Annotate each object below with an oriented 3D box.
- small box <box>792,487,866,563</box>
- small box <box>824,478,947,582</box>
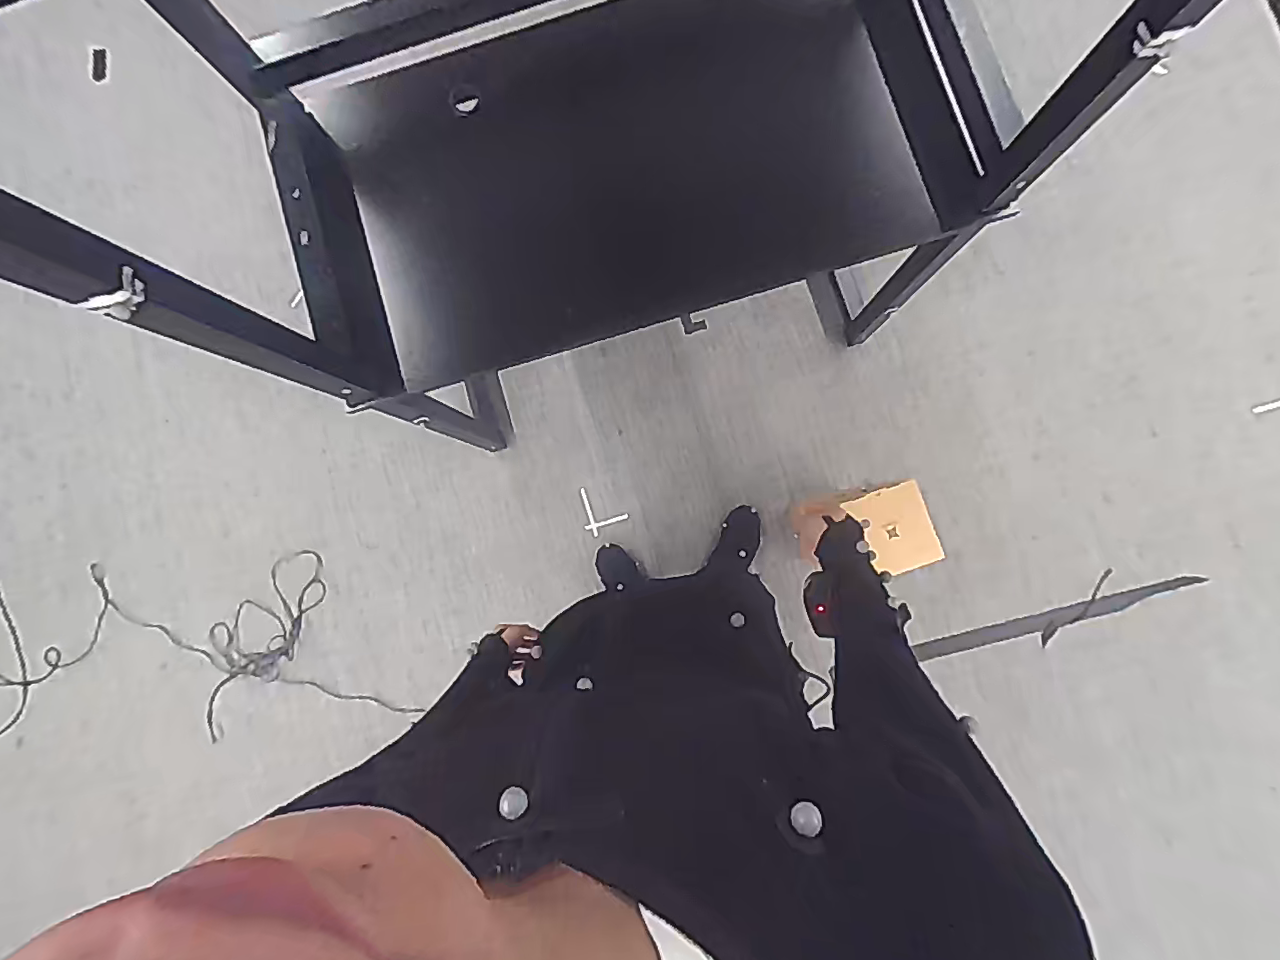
[{"bbox_3d":[0.546,0.123,1.511,0.179,0.176,0.168,-18,85,3],"label":"small box"},{"bbox_3d":[0.528,0.106,1.184,0.168,0.176,0.179,-20,85,3],"label":"small box"}]
